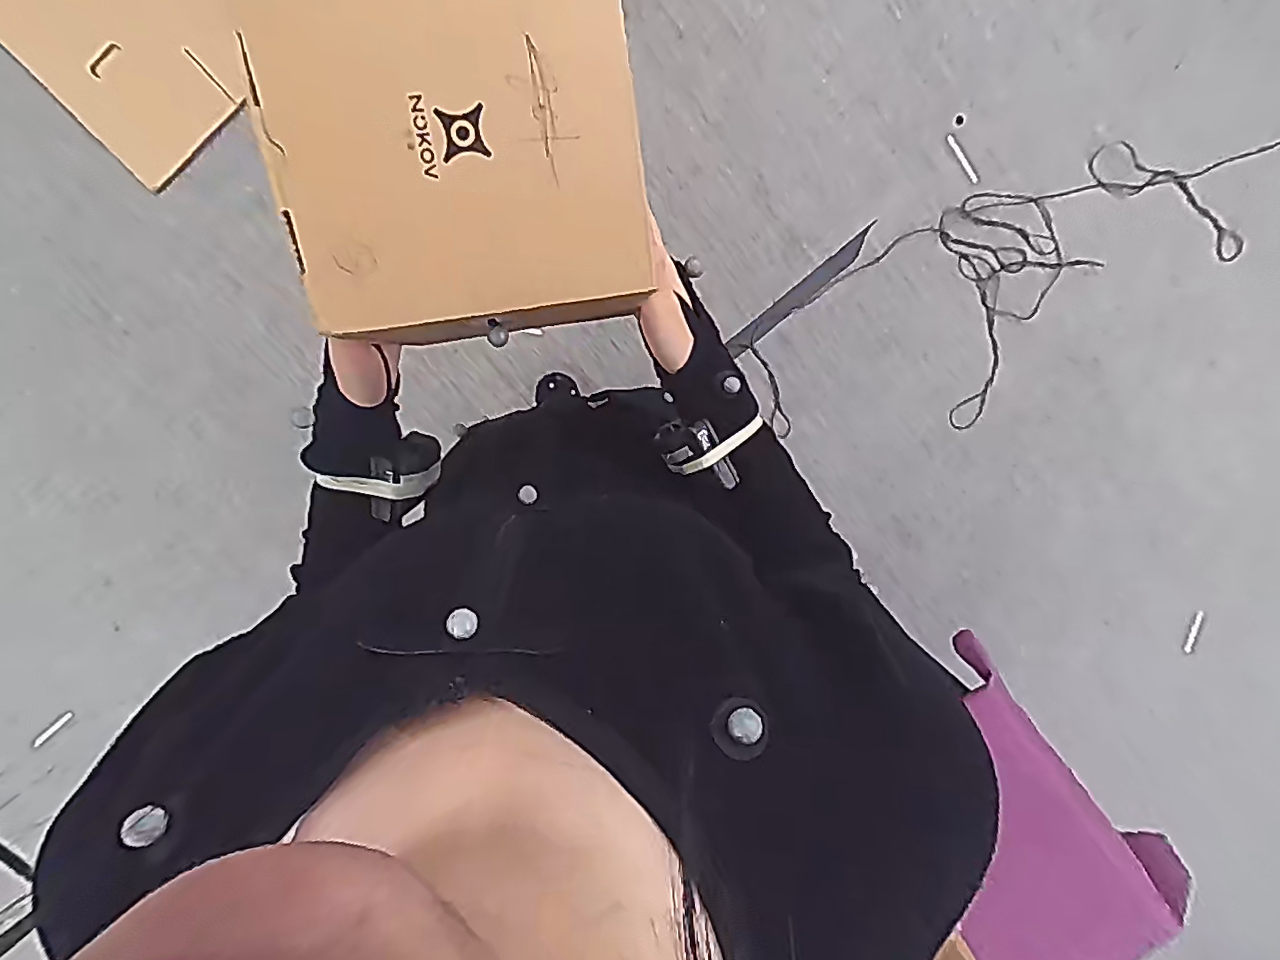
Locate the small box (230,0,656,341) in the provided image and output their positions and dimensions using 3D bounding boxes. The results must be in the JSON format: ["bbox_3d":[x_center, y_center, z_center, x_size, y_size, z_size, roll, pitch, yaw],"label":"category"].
[{"bbox_3d":[-0.093,-0.182,0.334,0.179,0.176,0.168,-10,104,-3],"label":"small box"}]
